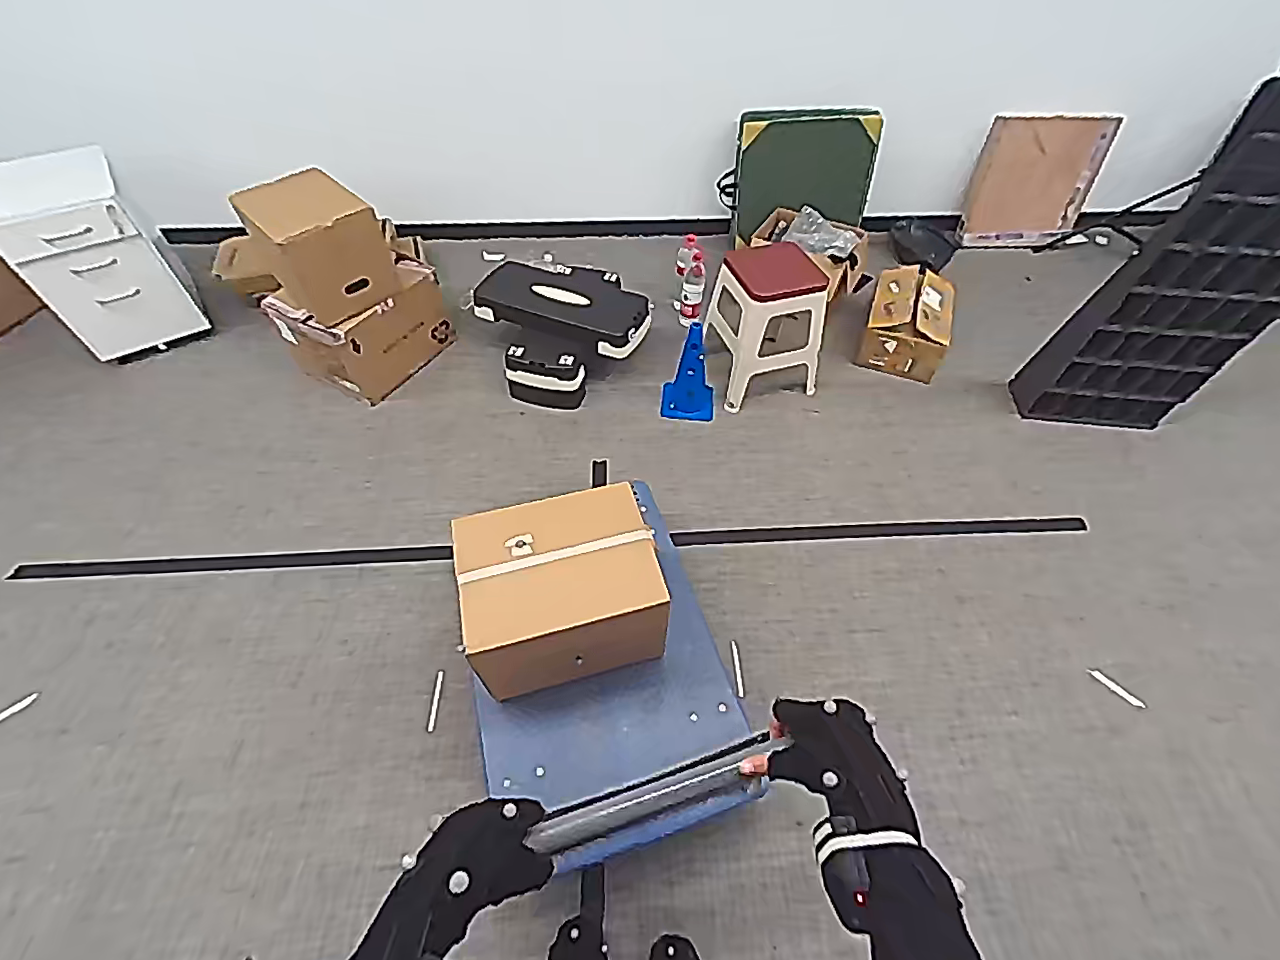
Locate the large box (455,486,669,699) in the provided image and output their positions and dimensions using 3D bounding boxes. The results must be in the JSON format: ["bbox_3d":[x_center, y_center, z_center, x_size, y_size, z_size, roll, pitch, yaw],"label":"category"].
[{"bbox_3d":[-0.172,0.263,1.249,0.408,0.320,0.320,-13,53,-10],"label":"large box"}]
